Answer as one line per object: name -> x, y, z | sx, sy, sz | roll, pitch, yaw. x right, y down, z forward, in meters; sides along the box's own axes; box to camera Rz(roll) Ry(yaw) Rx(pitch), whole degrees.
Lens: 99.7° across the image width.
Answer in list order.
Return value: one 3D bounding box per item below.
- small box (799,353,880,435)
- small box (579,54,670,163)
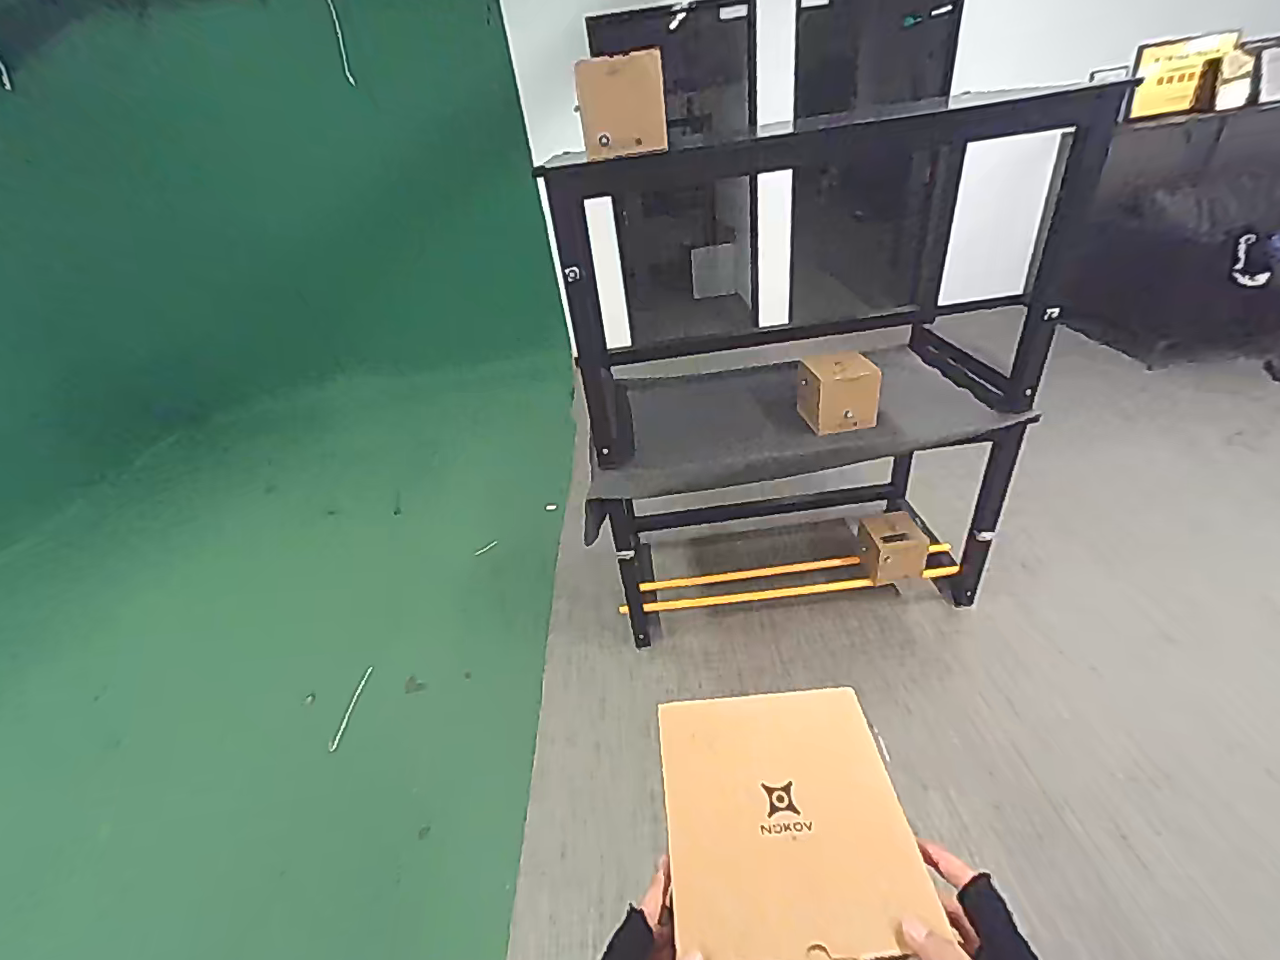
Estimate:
small box -> 0.560, -0.246, 1.543 | 0.168, 0.176, 0.179 | -9, 32, 0
small box -> -0.034, -0.791, 1.164 | 0.168, 0.176, 0.179 | -9, 32, -3
